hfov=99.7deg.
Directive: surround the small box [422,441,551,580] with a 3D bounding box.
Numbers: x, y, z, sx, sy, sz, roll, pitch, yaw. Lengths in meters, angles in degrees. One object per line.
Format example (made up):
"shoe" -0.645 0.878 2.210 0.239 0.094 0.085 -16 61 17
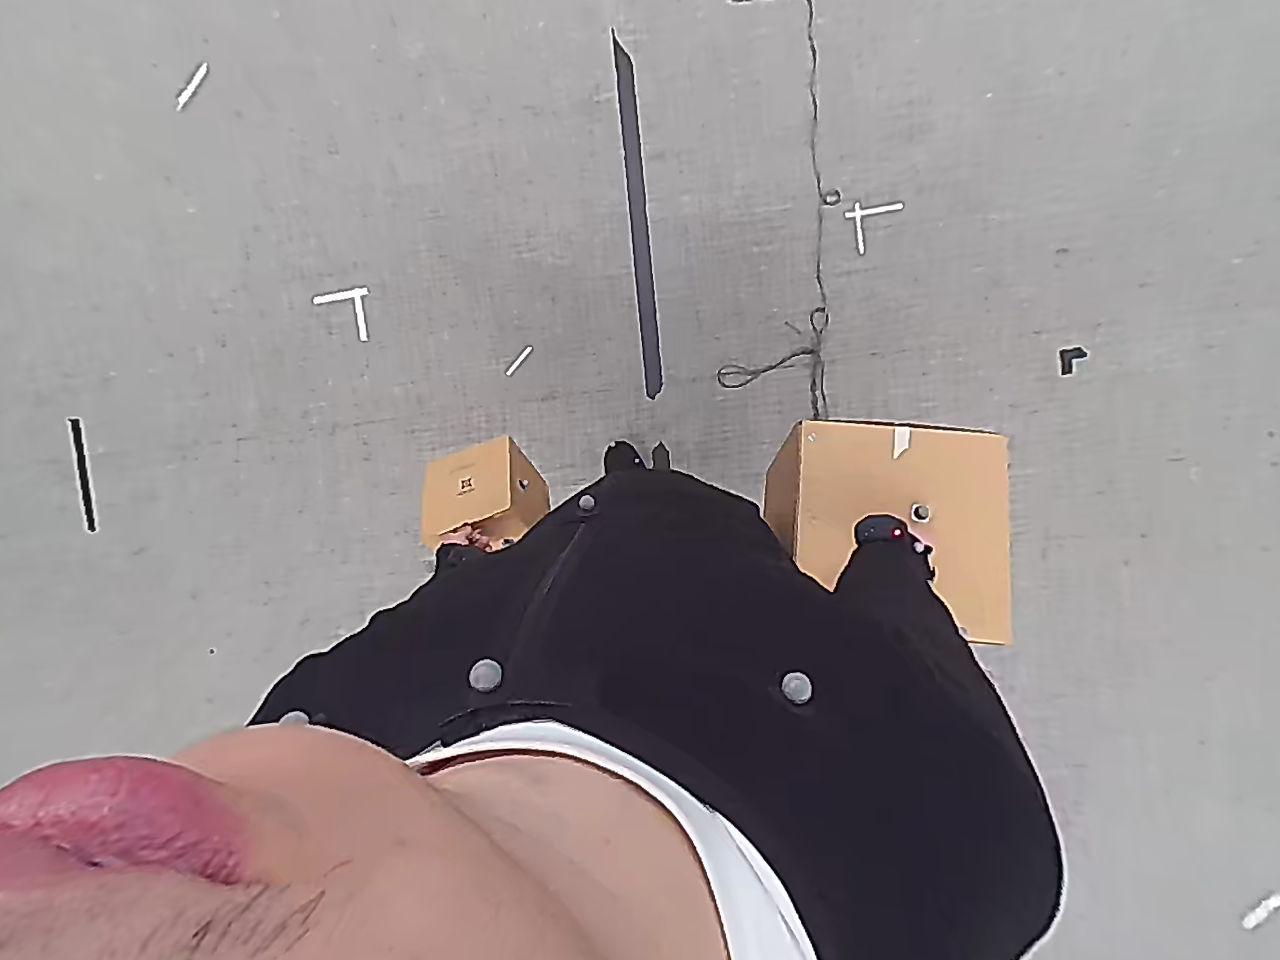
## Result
"small box" -0.272 0.065 0.989 0.168 0.176 0.179 -19 49 7
